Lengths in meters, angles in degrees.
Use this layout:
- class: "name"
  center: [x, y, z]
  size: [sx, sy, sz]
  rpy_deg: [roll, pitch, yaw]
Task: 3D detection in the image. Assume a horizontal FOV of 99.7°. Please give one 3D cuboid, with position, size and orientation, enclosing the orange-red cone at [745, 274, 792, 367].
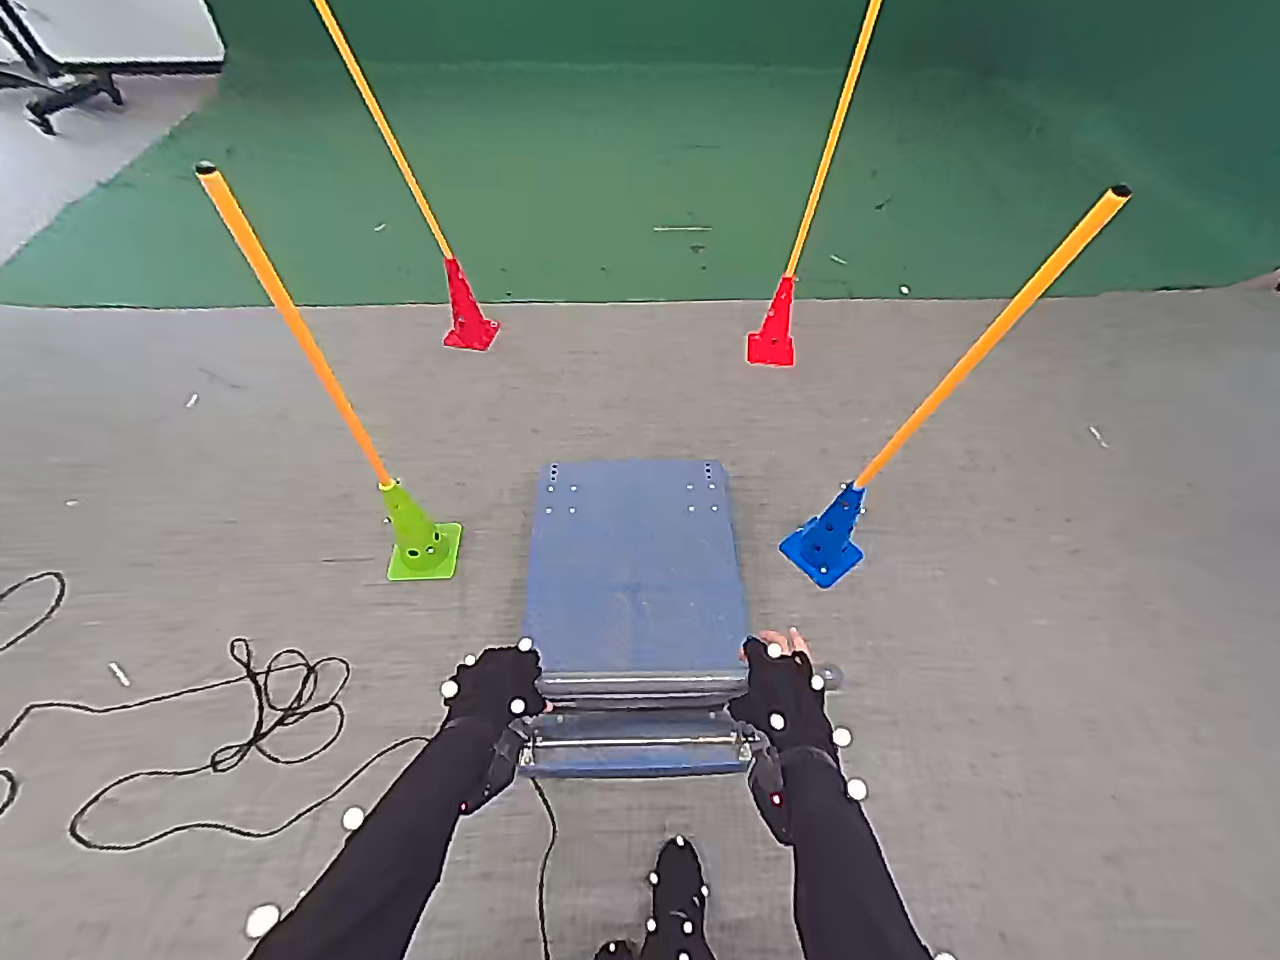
- class: "orange-red cone"
  center: [0.551, -0.658, 2.177]
  size: [0.198, 0.360, 0.199]
  rpy_deg: [7, 54, 6]
